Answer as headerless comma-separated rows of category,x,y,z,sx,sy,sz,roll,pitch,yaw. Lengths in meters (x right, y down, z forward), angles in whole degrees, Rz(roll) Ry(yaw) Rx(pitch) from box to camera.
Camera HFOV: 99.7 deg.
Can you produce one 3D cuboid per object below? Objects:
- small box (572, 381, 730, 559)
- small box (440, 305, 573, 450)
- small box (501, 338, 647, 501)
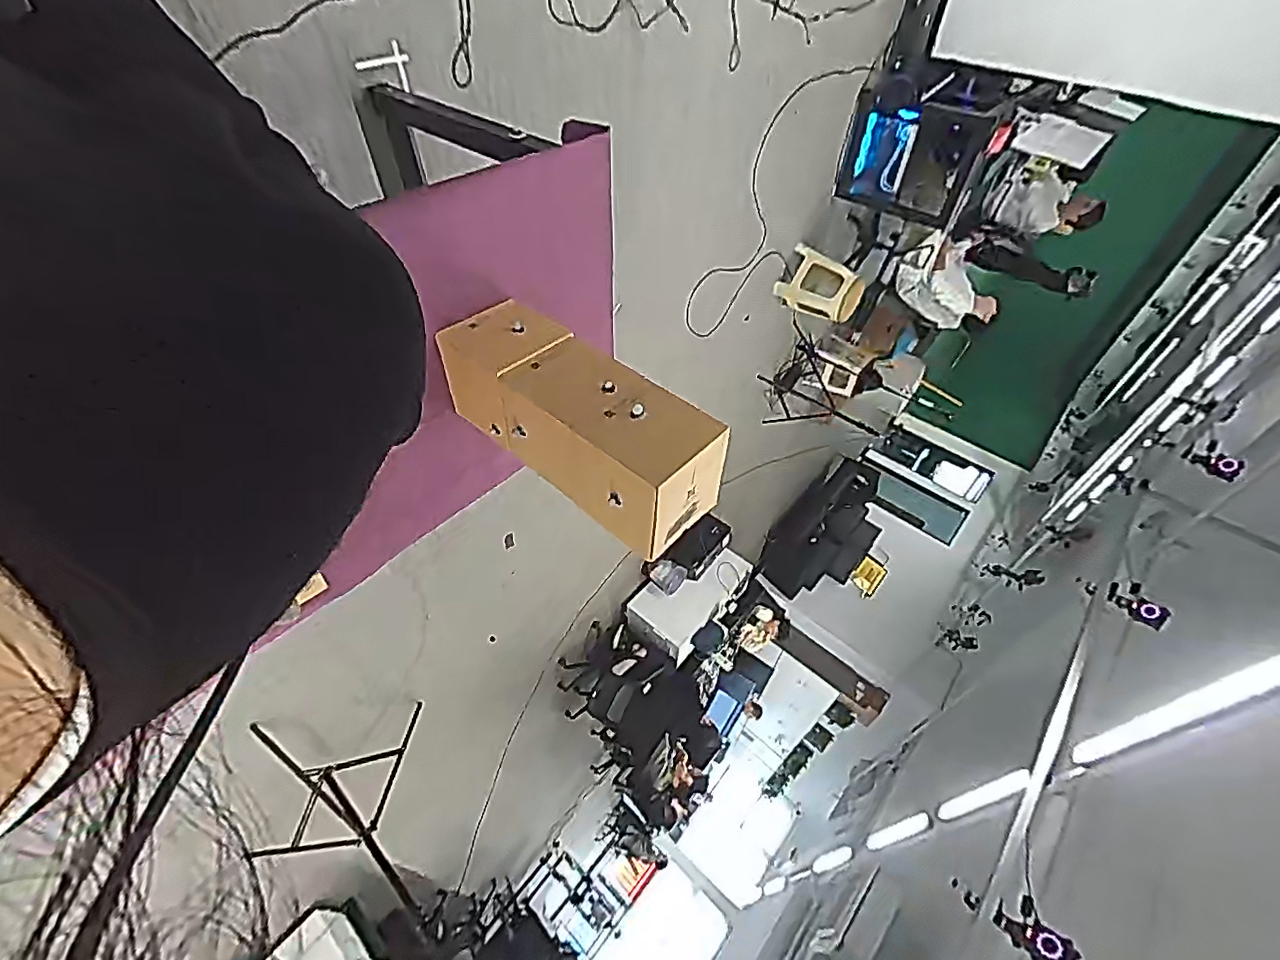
small box,0.012,-0.020,0.832,0.168,0.176,0.179,-39,150,-32
small box,-0.232,-0.192,0.970,0.168,0.176,0.179,-39,151,-32
small box,-0.109,-0.105,0.906,0.168,0.176,0.179,-40,151,-31
